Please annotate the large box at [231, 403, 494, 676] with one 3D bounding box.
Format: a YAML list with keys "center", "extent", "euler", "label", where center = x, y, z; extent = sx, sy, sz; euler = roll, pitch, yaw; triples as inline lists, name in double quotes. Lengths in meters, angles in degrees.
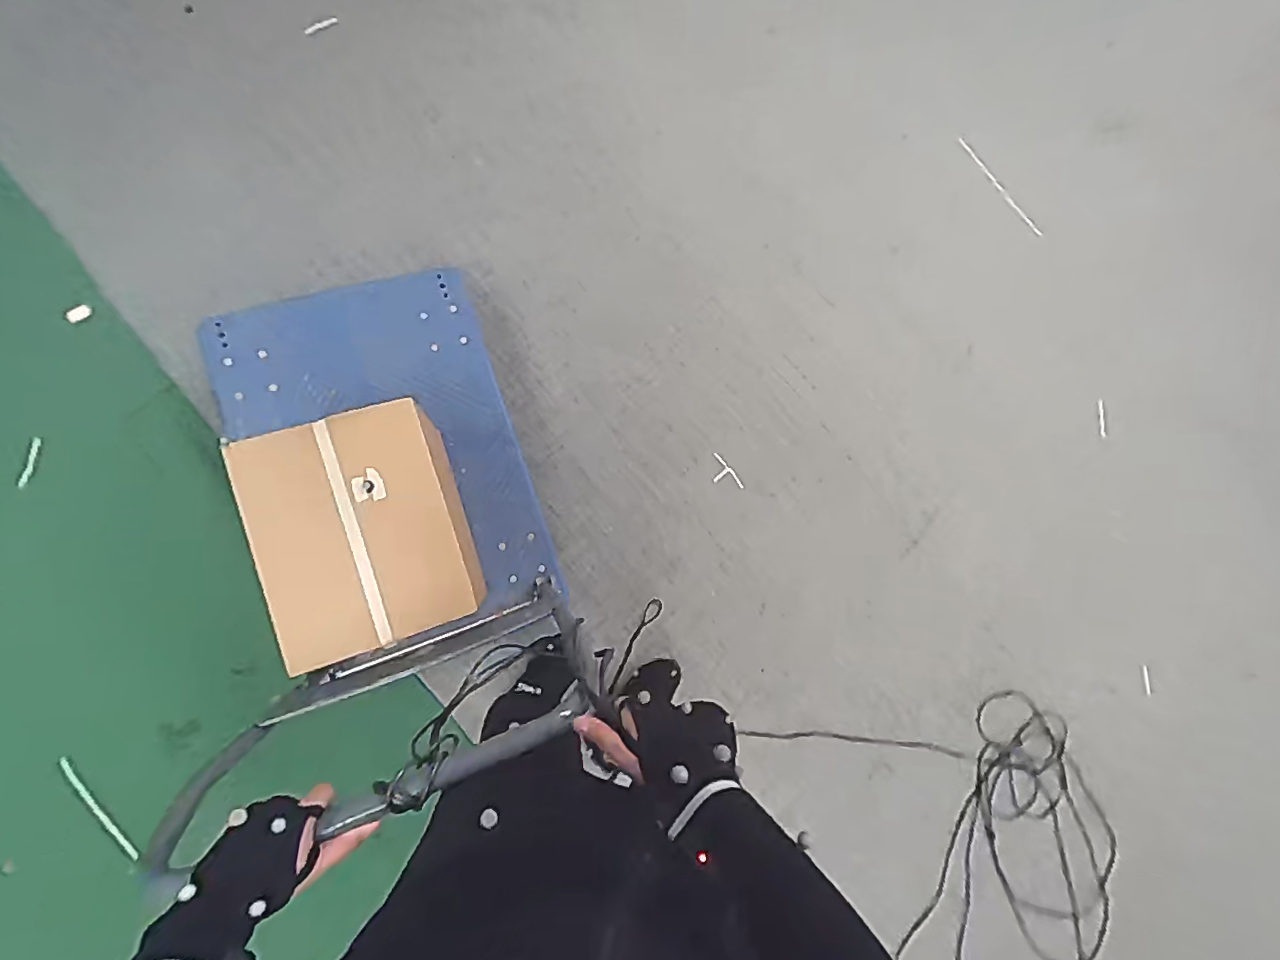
- center: [-0.509, 0.111, 1.073]
  extent: [0.320, 0.320, 0.408]
  euler: [-18, 87, -14]
  label: "large box"
